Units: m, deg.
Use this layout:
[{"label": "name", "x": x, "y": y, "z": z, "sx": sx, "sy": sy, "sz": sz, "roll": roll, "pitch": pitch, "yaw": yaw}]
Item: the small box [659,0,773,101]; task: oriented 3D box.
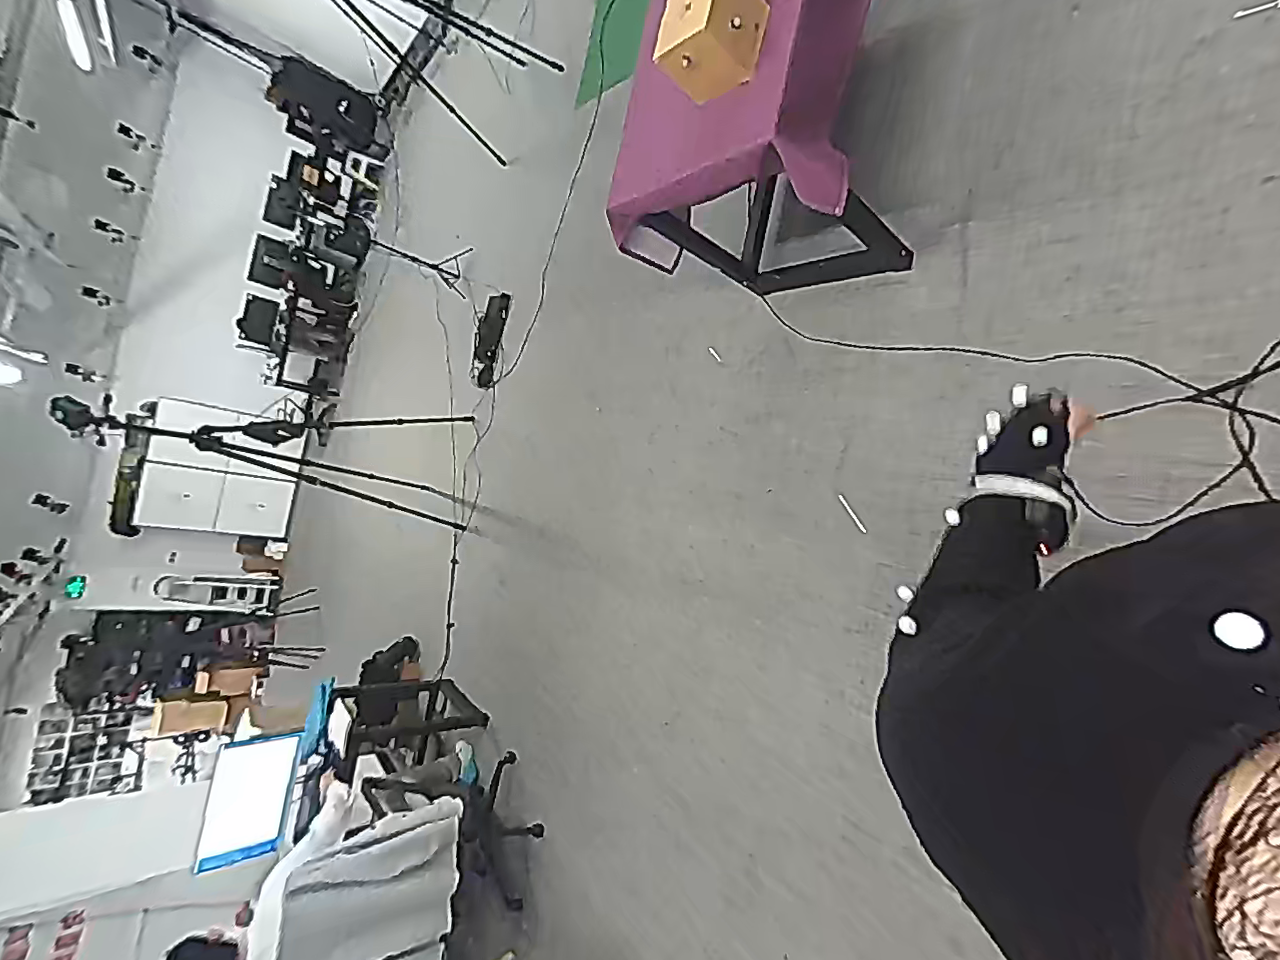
[{"label": "small box", "x": 0.175, "y": -1.020, "z": 1.237, "sx": 0.179, "sy": 0.176, "sz": 0.168, "roll": 17, "pitch": 94, "yaw": 51}]
